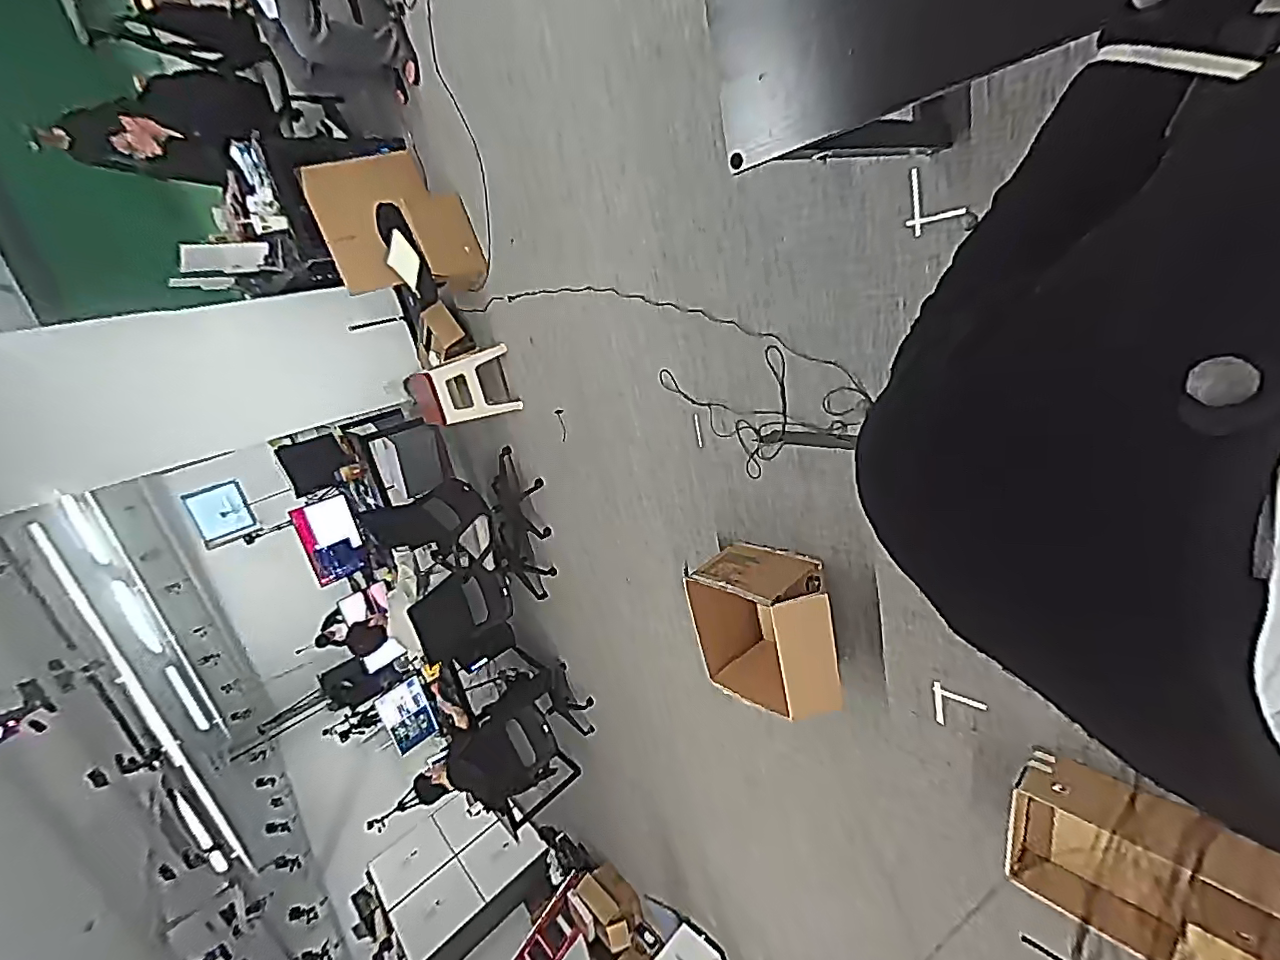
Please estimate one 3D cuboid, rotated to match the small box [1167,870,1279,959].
[{"bbox_3d":[1.422,1.108,1.308,0.179,0.176,0.168,14,119,49],"label":"small box"}]
